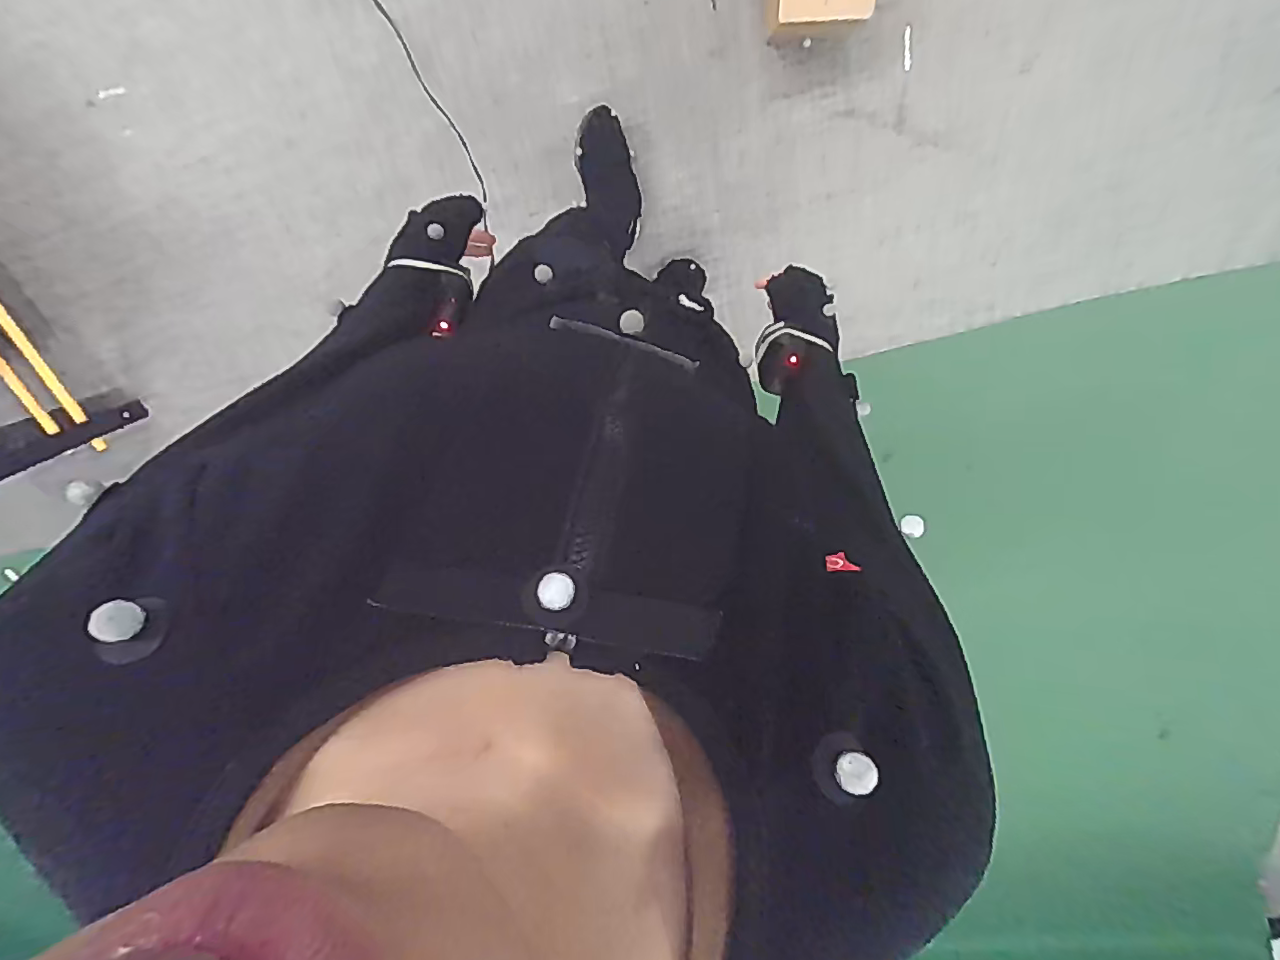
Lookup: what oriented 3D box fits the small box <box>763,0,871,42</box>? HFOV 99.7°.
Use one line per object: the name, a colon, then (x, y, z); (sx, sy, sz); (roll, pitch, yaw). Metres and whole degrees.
small box: (0.322, -0.923, 0.978); (0.168, 0.176, 0.179); (1, 119, 3)
